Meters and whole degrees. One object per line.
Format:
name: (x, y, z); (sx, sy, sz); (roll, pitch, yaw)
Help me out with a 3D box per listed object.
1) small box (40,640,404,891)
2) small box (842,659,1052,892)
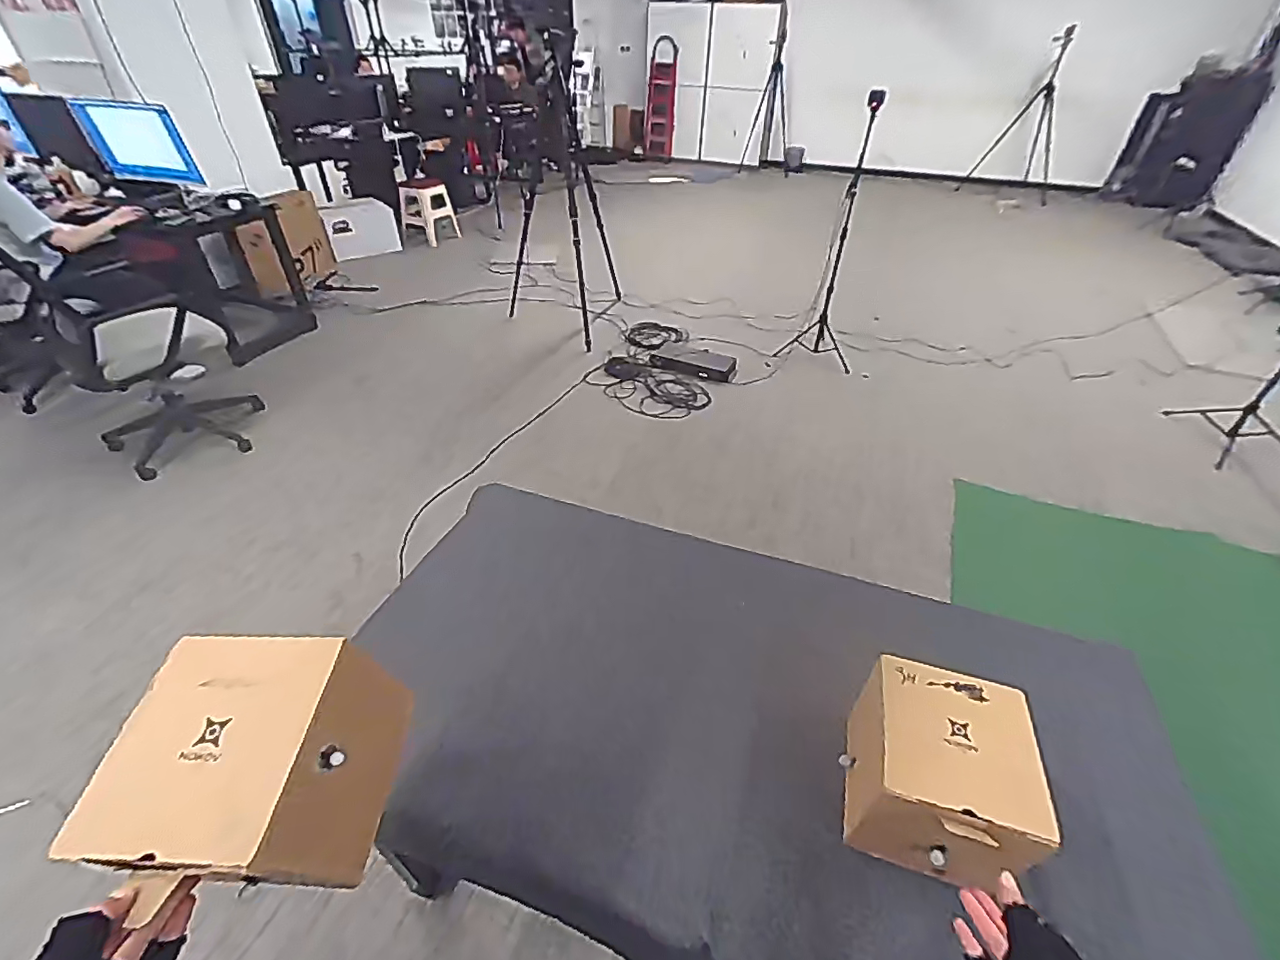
small box: (-0.346, 0.264, 0.498); (0.168, 0.176, 0.179); (-1, 49, 4)
small box: (0.352, 0.359, 0.658); (0.168, 0.176, 0.179); (13, 40, 13)
